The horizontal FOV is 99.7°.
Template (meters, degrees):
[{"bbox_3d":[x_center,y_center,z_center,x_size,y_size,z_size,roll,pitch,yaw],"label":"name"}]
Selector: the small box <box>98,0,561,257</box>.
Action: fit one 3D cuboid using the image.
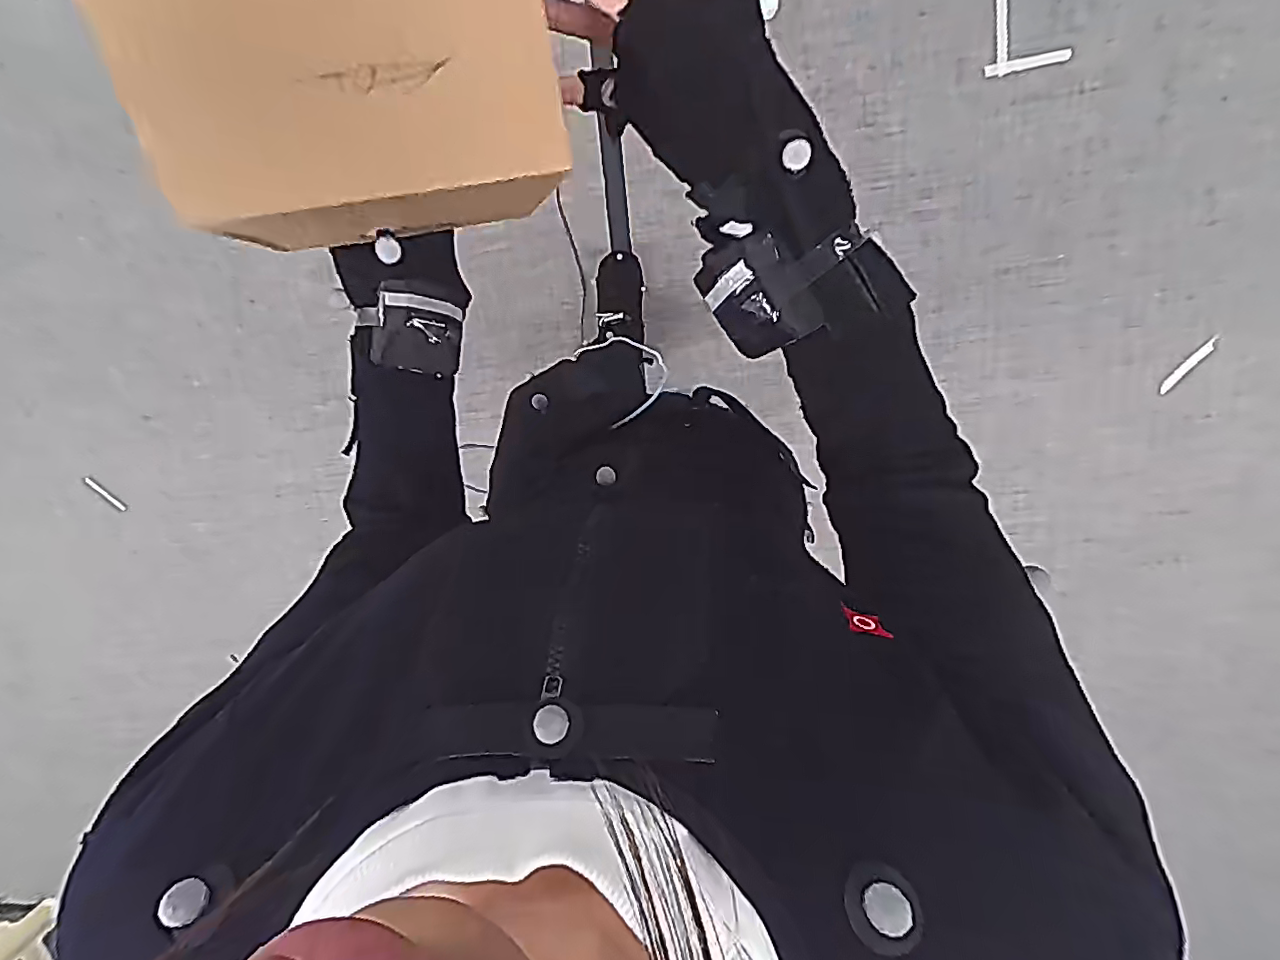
[{"bbox_3d":[-0.151,-0.230,0.292,0.168,0.176,0.179,-15,112,-11],"label":"small box"}]
